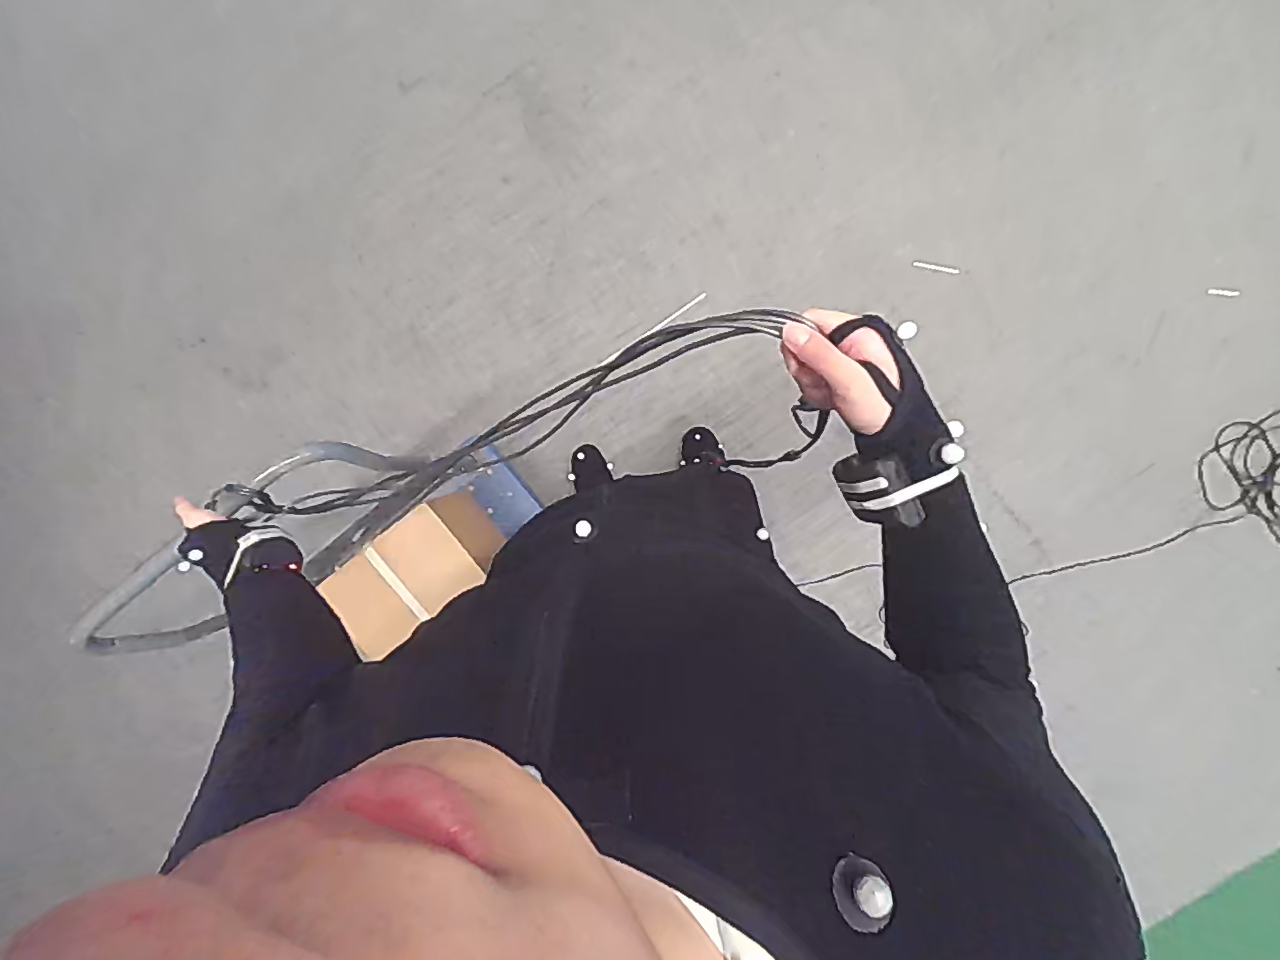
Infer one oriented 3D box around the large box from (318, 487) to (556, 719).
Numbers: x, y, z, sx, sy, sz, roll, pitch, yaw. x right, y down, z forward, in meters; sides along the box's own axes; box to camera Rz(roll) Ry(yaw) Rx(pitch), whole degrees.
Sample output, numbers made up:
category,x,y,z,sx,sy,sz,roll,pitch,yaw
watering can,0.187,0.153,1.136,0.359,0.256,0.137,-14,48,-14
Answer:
category,x,y,z,sx,sy,sz,roll,pitch,yaw
large box,-0.458,0.269,1.315,0.320,0.320,0.408,-38,95,1
